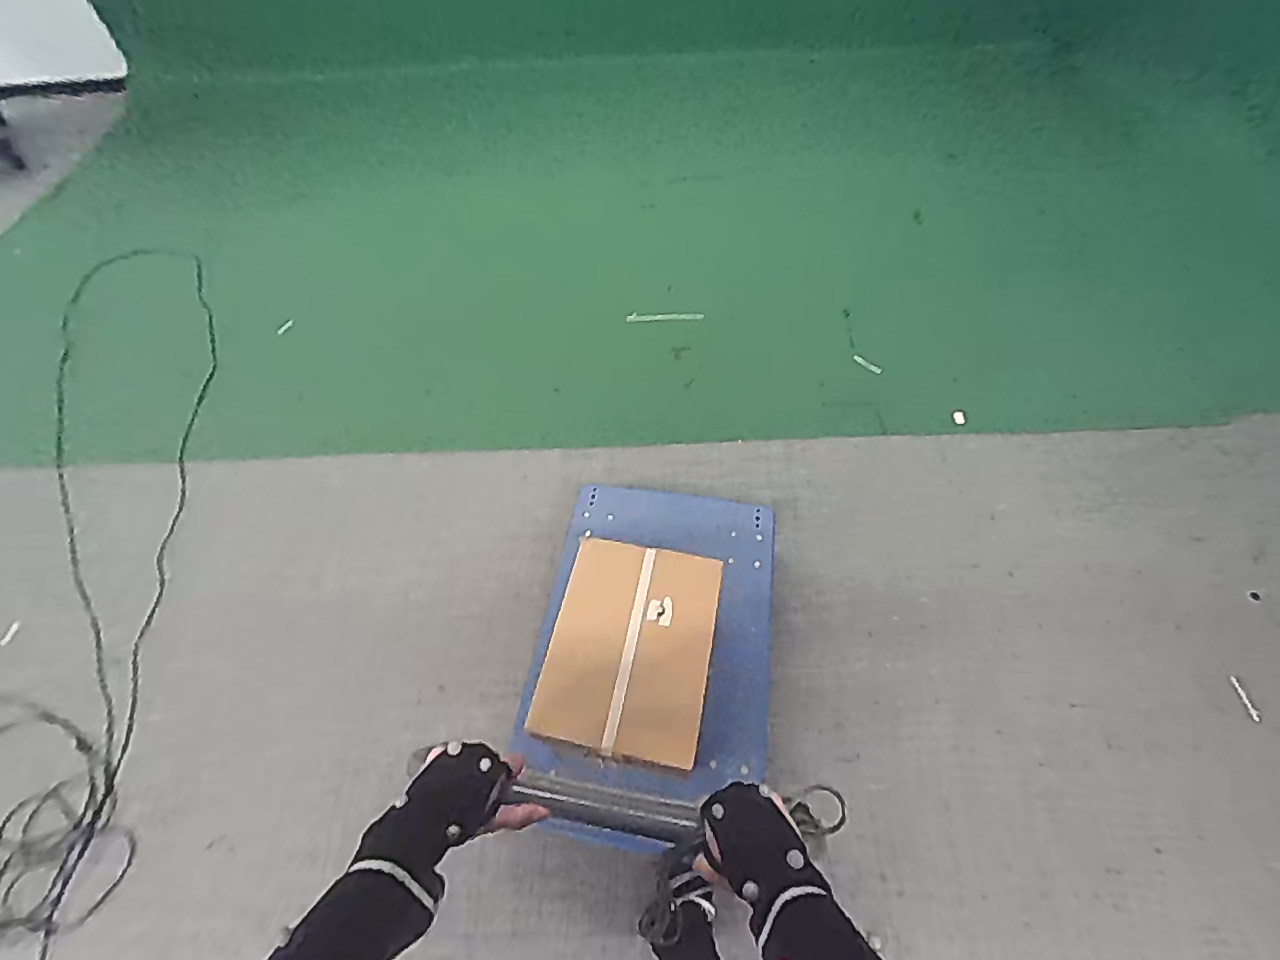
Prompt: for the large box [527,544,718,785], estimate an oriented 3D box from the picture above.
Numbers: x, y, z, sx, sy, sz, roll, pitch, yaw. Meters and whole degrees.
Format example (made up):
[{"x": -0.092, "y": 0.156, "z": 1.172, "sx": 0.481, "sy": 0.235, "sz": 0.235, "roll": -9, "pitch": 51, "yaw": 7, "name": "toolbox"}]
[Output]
[{"x": -0.016, "y": 0.408, "z": 1.191, "sx": 0.320, "sy": 0.320, "sz": 0.408, "roll": 10, "pitch": 57, "yaw": 8, "name": "large box"}]
